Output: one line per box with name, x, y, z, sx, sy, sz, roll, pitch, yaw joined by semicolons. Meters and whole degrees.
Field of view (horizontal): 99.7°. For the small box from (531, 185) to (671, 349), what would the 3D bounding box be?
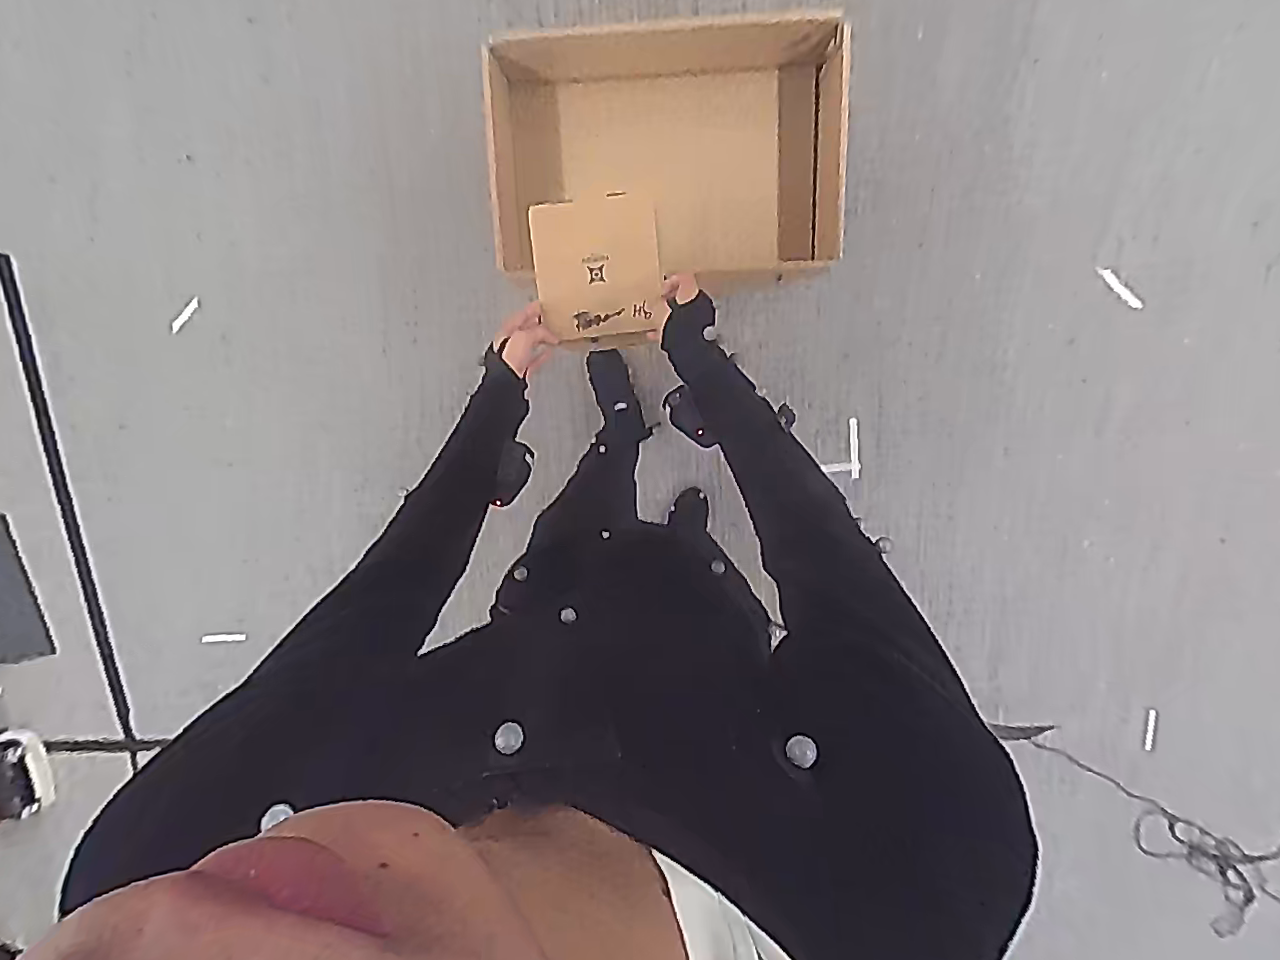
small box;-0.046;-0.295;0.787;0.168;0.176;0.179;-5;98;8
